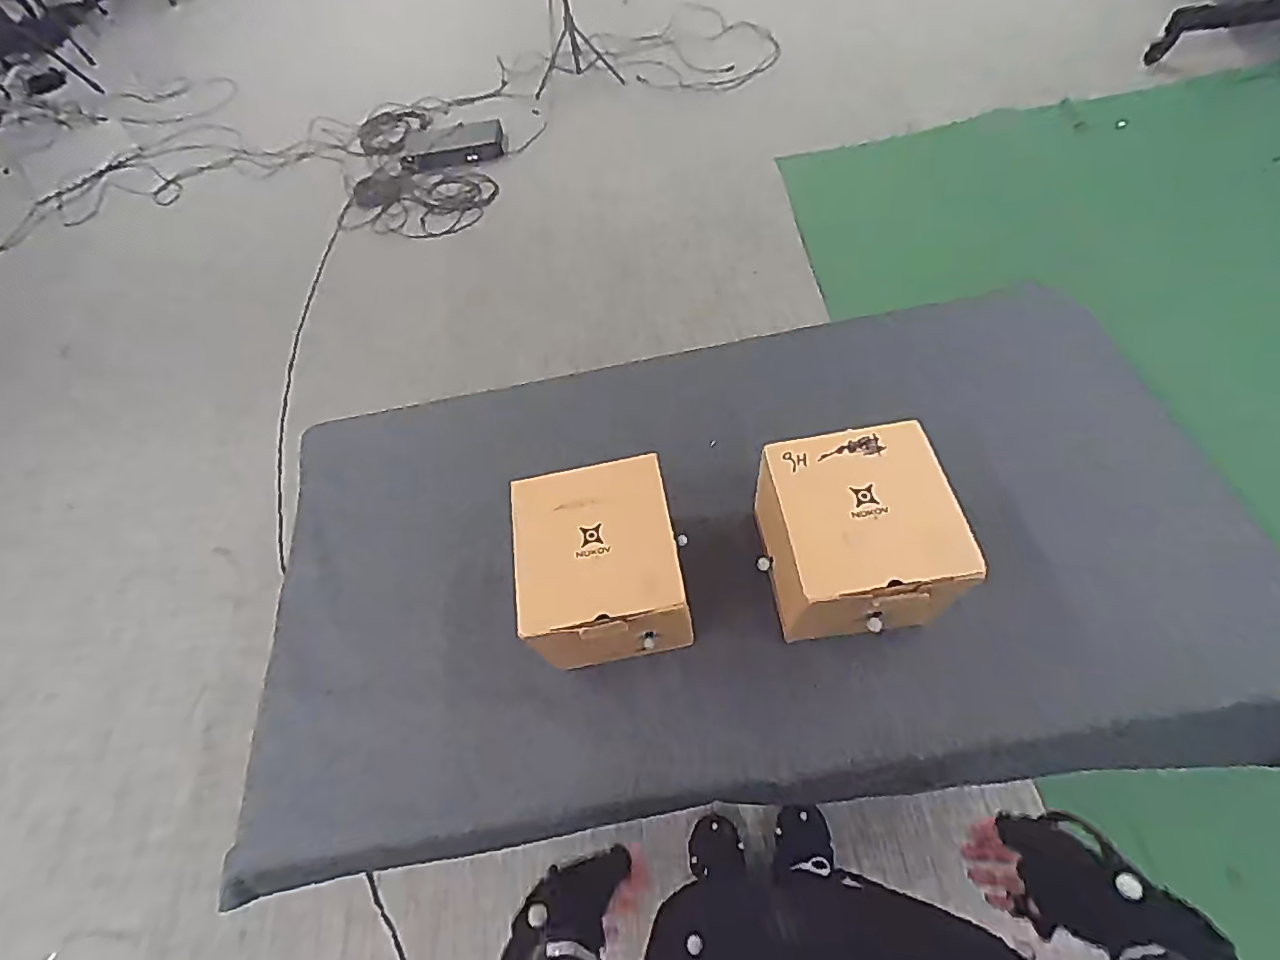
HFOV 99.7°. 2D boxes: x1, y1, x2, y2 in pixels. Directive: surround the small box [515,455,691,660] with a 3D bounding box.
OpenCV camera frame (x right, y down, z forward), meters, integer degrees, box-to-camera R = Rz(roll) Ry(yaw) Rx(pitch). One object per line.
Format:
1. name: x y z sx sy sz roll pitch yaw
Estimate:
1. small box: -0.037 0.100 0.629 0.168 0.176 0.179 -12 59 0
